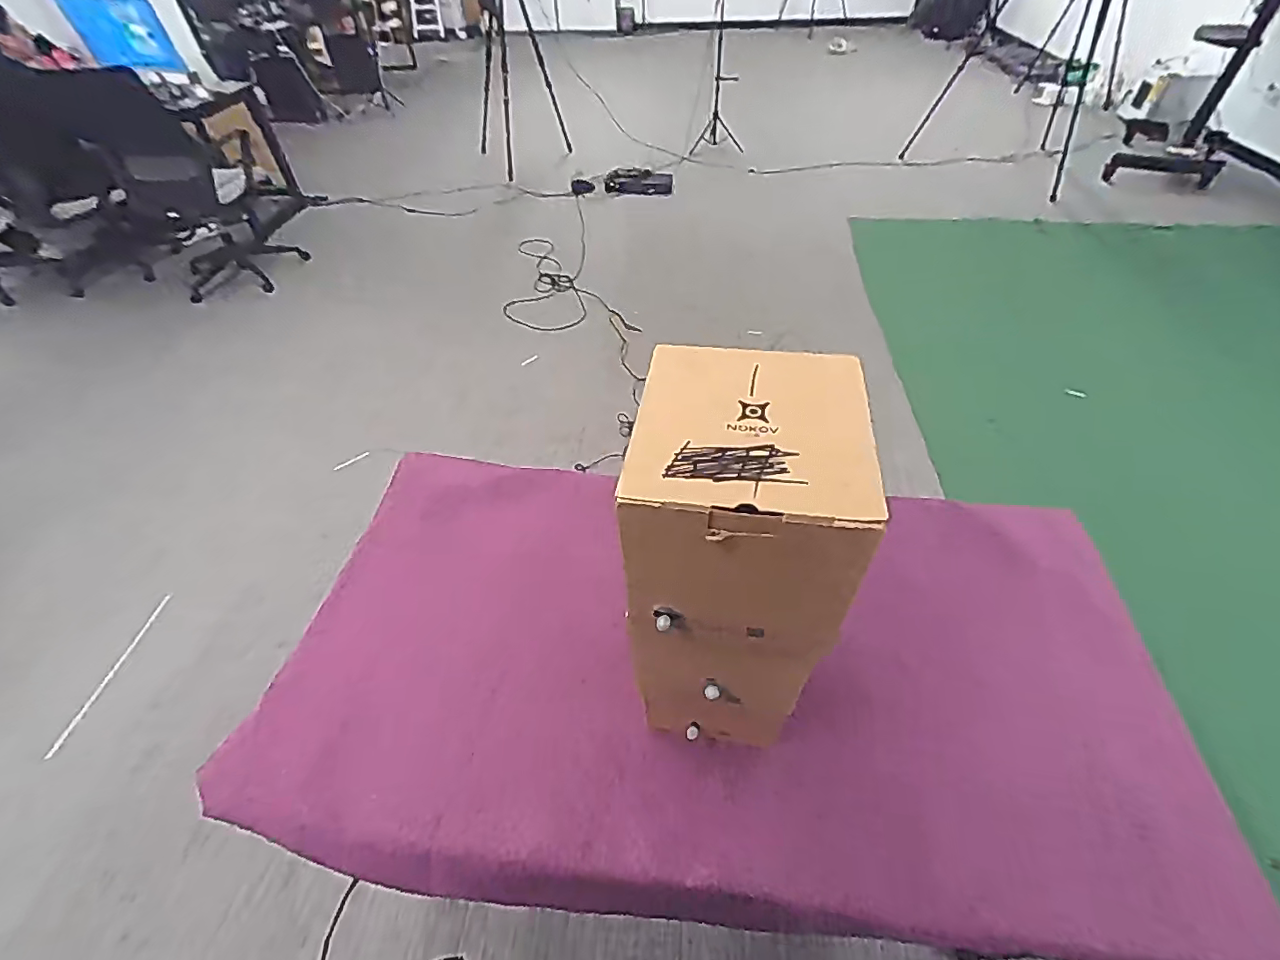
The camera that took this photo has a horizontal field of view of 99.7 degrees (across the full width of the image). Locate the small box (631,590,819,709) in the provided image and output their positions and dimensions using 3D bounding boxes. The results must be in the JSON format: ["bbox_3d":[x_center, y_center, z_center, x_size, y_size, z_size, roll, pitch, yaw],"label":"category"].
[{"bbox_3d":[0.088,0.116,0.576,0.168,0.176,0.179,5,48,9],"label":"small box"}]

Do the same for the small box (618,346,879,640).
[{"bbox_3d":[0.085,0.011,0.449,0.168,0.176,0.179,6,47,9],"label":"small box"}]

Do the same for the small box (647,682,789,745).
[{"bbox_3d":[0.102,0.216,0.705,0.168,0.176,0.179,6,48,9],"label":"small box"}]
